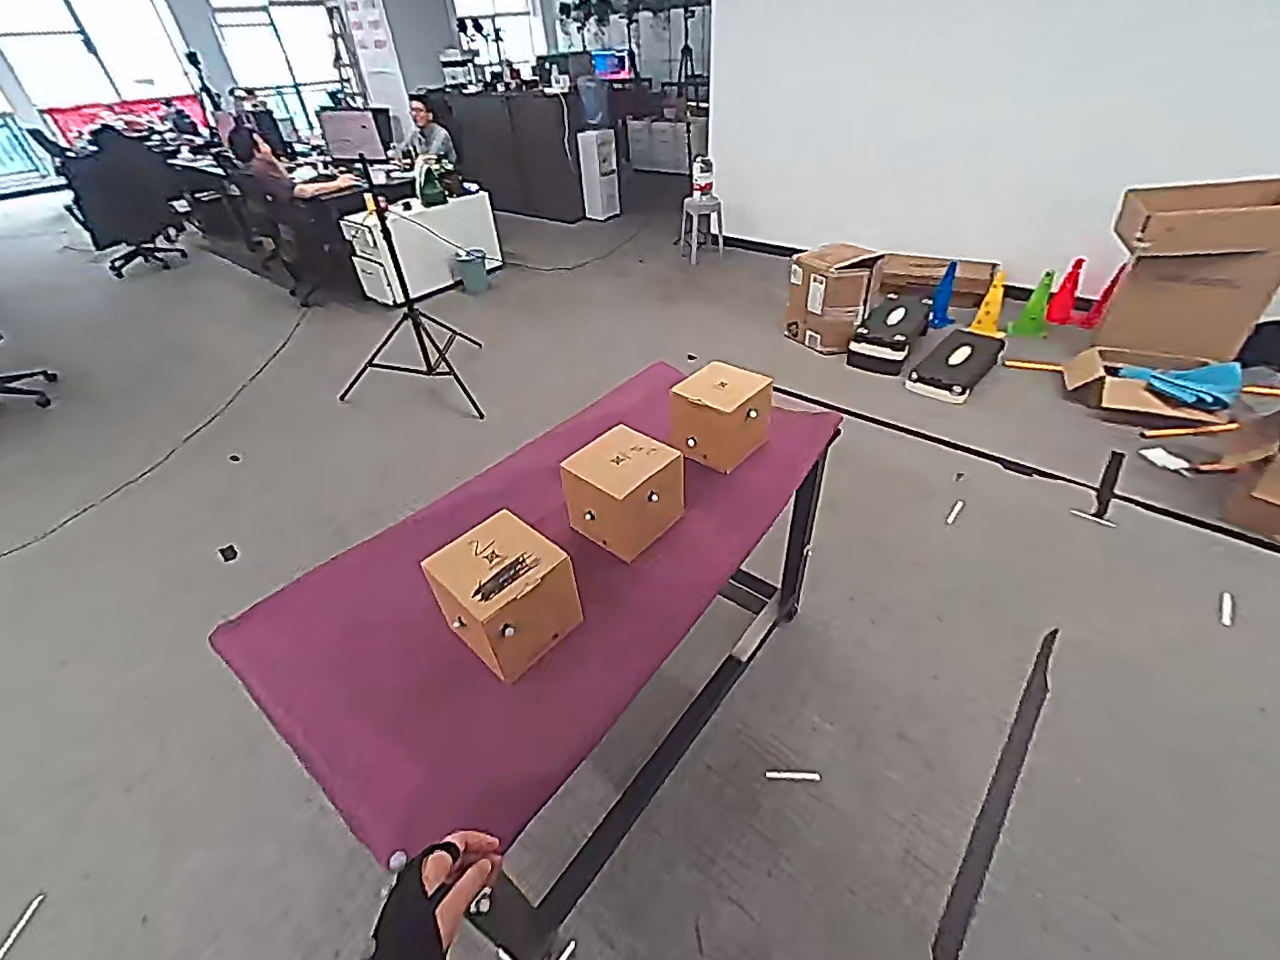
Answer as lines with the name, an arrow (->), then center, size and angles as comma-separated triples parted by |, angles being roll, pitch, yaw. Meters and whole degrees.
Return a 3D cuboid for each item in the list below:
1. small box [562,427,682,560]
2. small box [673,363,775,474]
small box -> -0.027, 0.026, 1.074 | 0.168, 0.176, 0.179 | 28, 49, 33
small box -> 0.192, -0.145, 1.262 | 0.168, 0.176, 0.179 | 27, 50, 34
